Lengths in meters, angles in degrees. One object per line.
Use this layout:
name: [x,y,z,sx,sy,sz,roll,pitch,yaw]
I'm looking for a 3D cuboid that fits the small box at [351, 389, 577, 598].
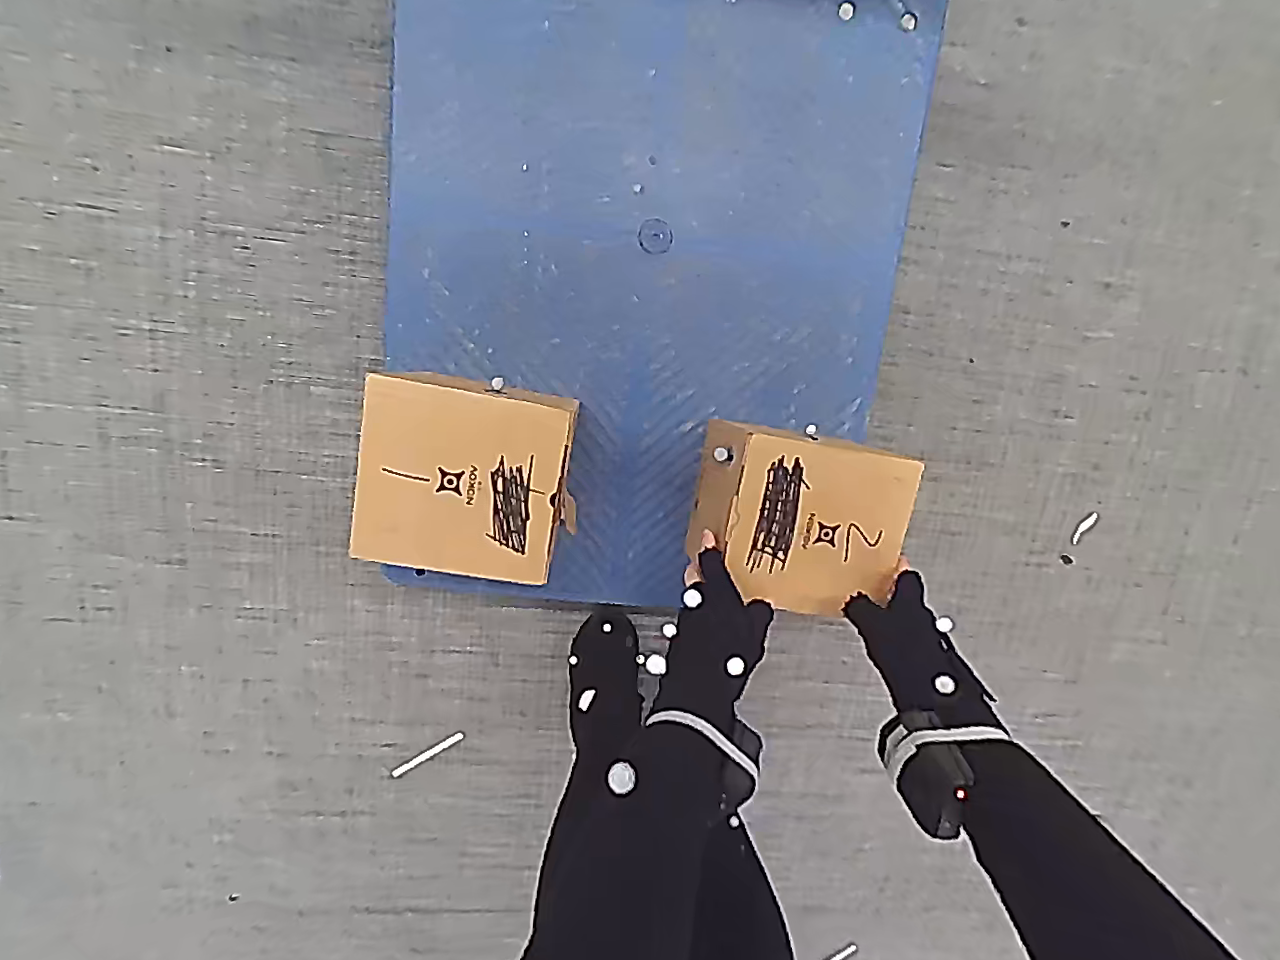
small box: [-0.162,0.002,0.551,0.179,0.176,0.168,10,100,-6]
